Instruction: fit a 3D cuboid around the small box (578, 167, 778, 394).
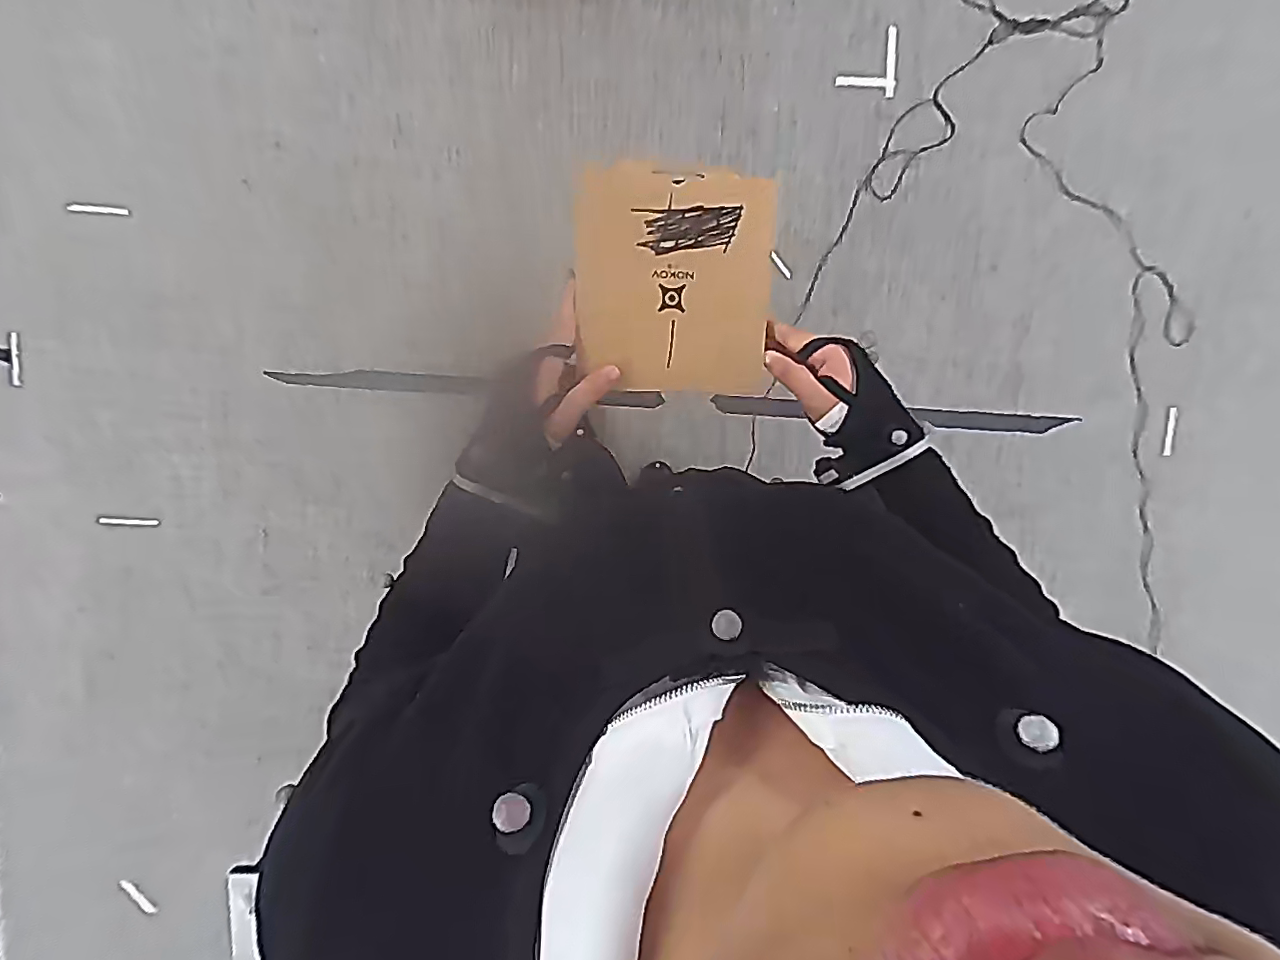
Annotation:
[{"bbox_3d":[0.023,-0.177,0.527,0.168,0.176,0.179,0,102,-5],"label":"small box"}]
